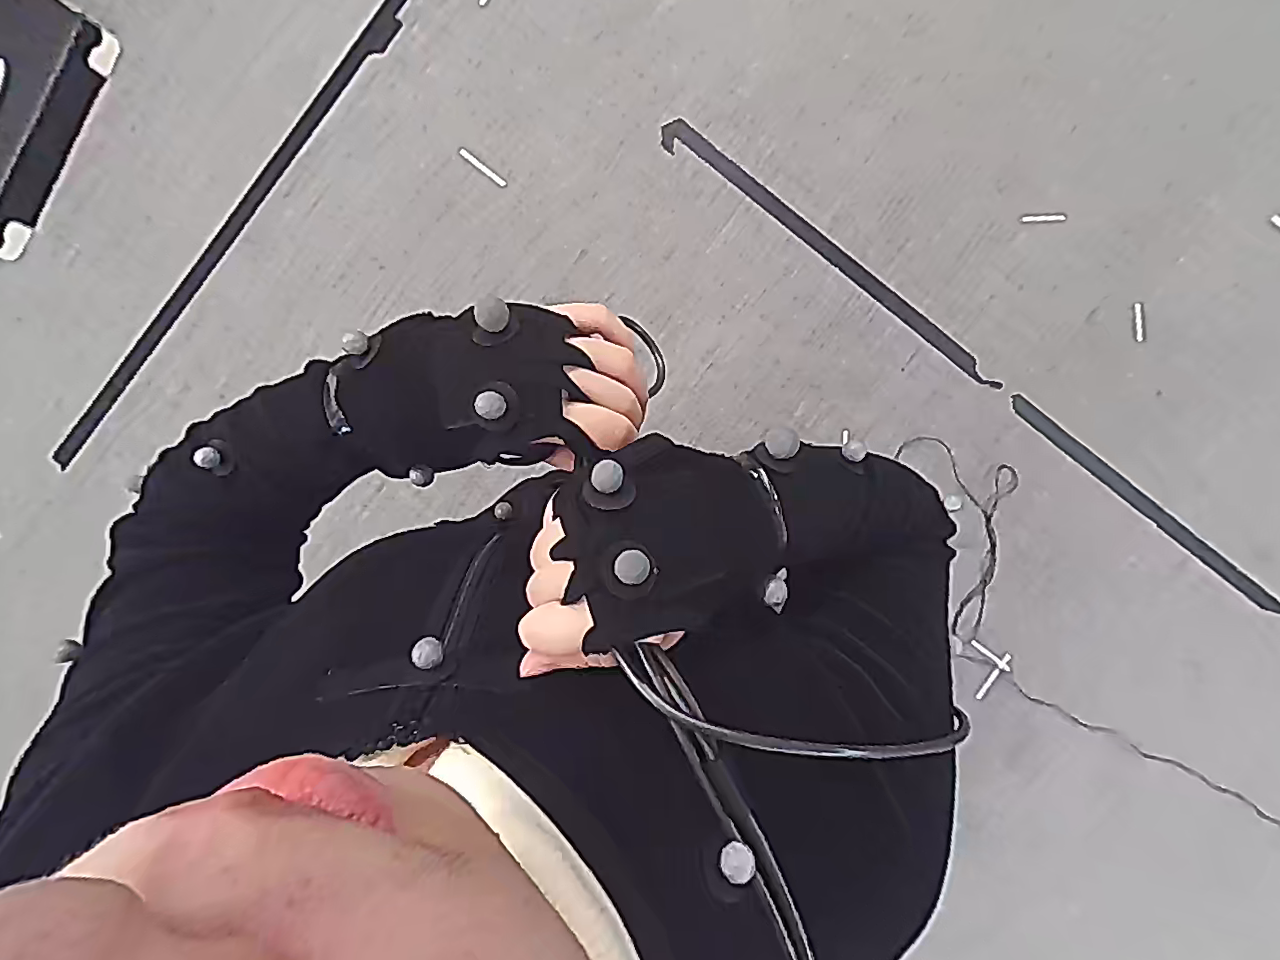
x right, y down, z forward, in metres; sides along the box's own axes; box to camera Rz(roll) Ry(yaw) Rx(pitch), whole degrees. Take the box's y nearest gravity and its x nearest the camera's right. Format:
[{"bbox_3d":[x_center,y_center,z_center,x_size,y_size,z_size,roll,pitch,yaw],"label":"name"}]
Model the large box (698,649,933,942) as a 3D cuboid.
[{"bbox_3d":[0.352,0.651,1.185,0.320,0.320,0.408,-20,92,0],"label":"large box"}]
